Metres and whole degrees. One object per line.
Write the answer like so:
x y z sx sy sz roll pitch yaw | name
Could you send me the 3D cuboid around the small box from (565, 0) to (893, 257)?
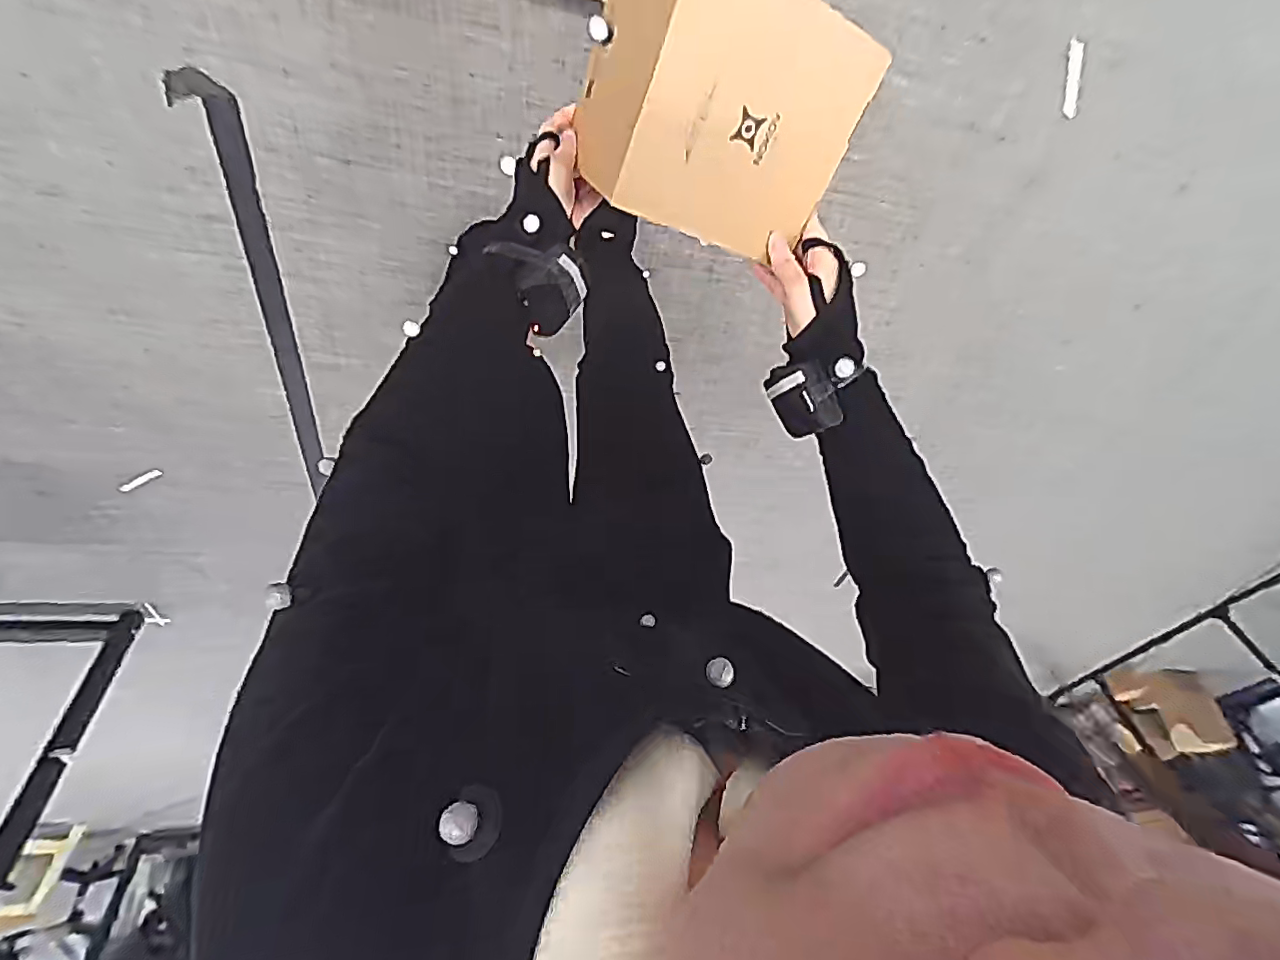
0.056 -0.317 0.449 0.179 0.176 0.168 7 126 -29 | small box
